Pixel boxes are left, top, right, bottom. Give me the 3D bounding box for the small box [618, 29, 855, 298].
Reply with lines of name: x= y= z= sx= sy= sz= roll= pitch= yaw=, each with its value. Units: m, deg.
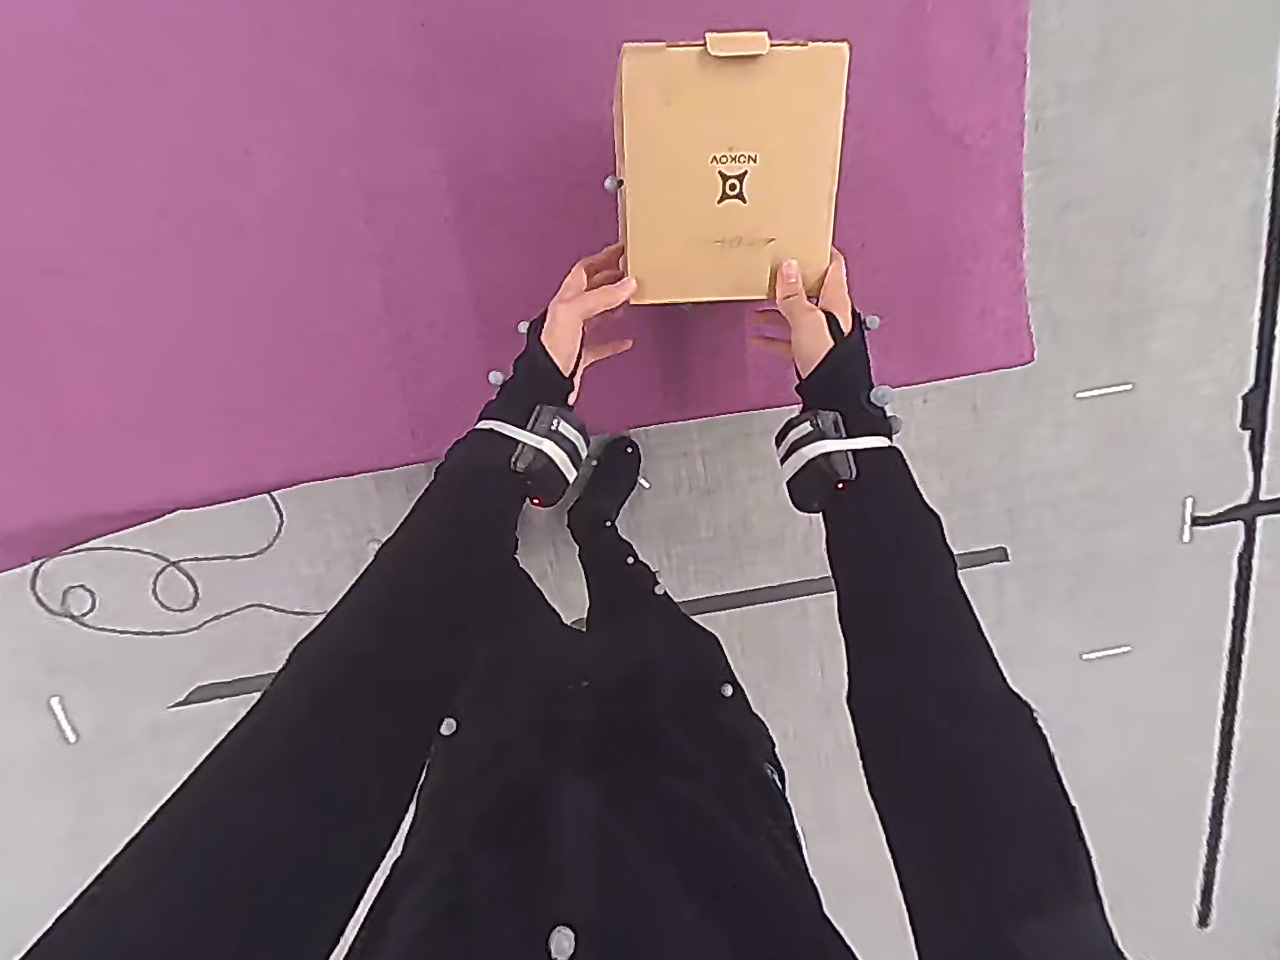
small box: x=0.066 y=-0.257 z=0.478 sx=0.168 sy=0.176 sz=0.179 roll=-2 pitch=112 yaw=-3
